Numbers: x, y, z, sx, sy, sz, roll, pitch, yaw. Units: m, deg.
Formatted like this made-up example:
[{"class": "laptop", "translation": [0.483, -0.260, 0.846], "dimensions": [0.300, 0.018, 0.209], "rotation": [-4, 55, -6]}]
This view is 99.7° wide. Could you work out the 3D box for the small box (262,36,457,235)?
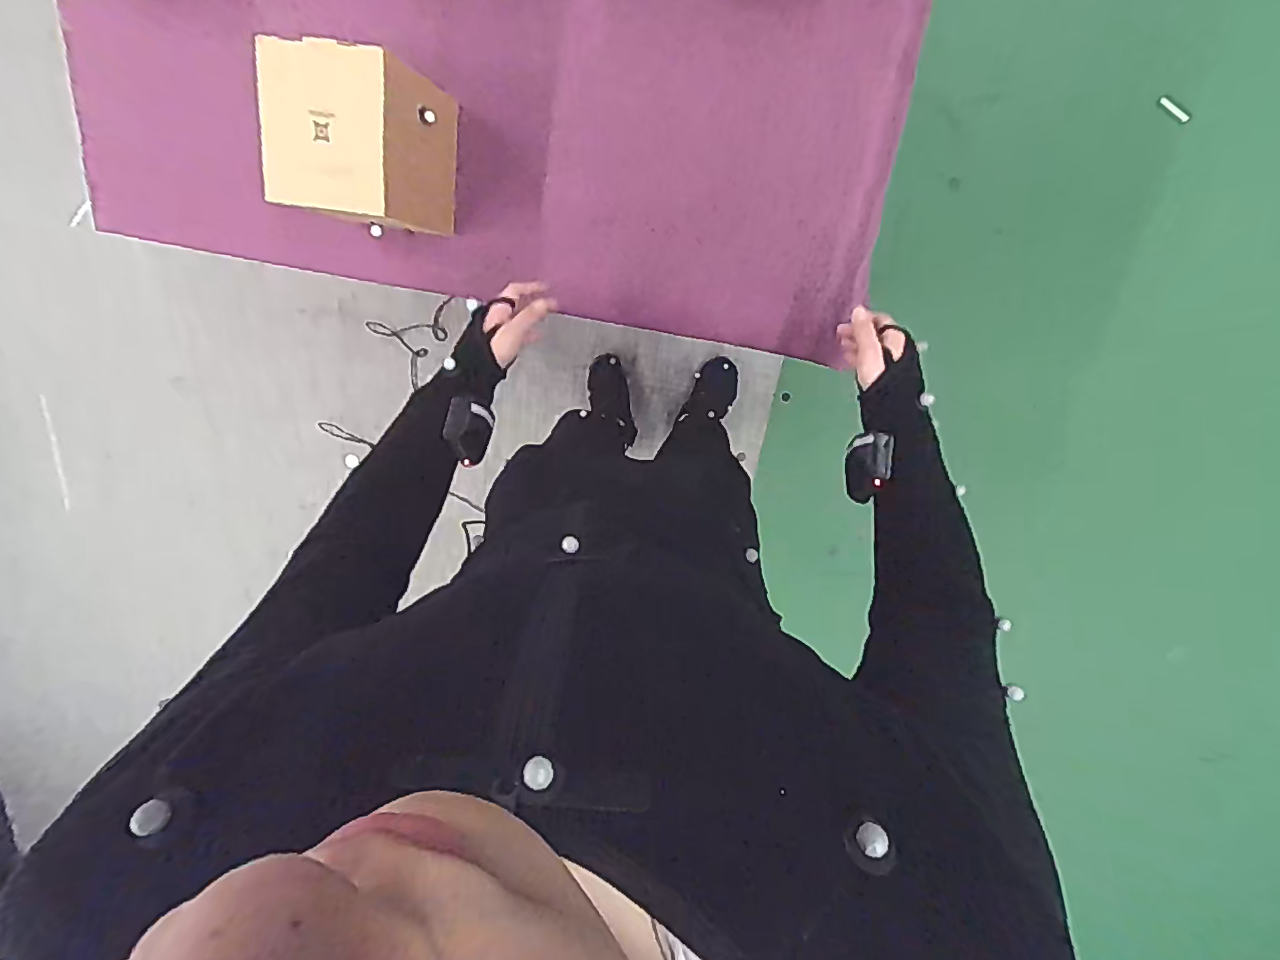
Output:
[{"class": "small box", "translation": [-0.361, -0.443, 0.722], "dimensions": [0.168, 0.176, 0.179], "rotation": [12, 109, 8]}]
